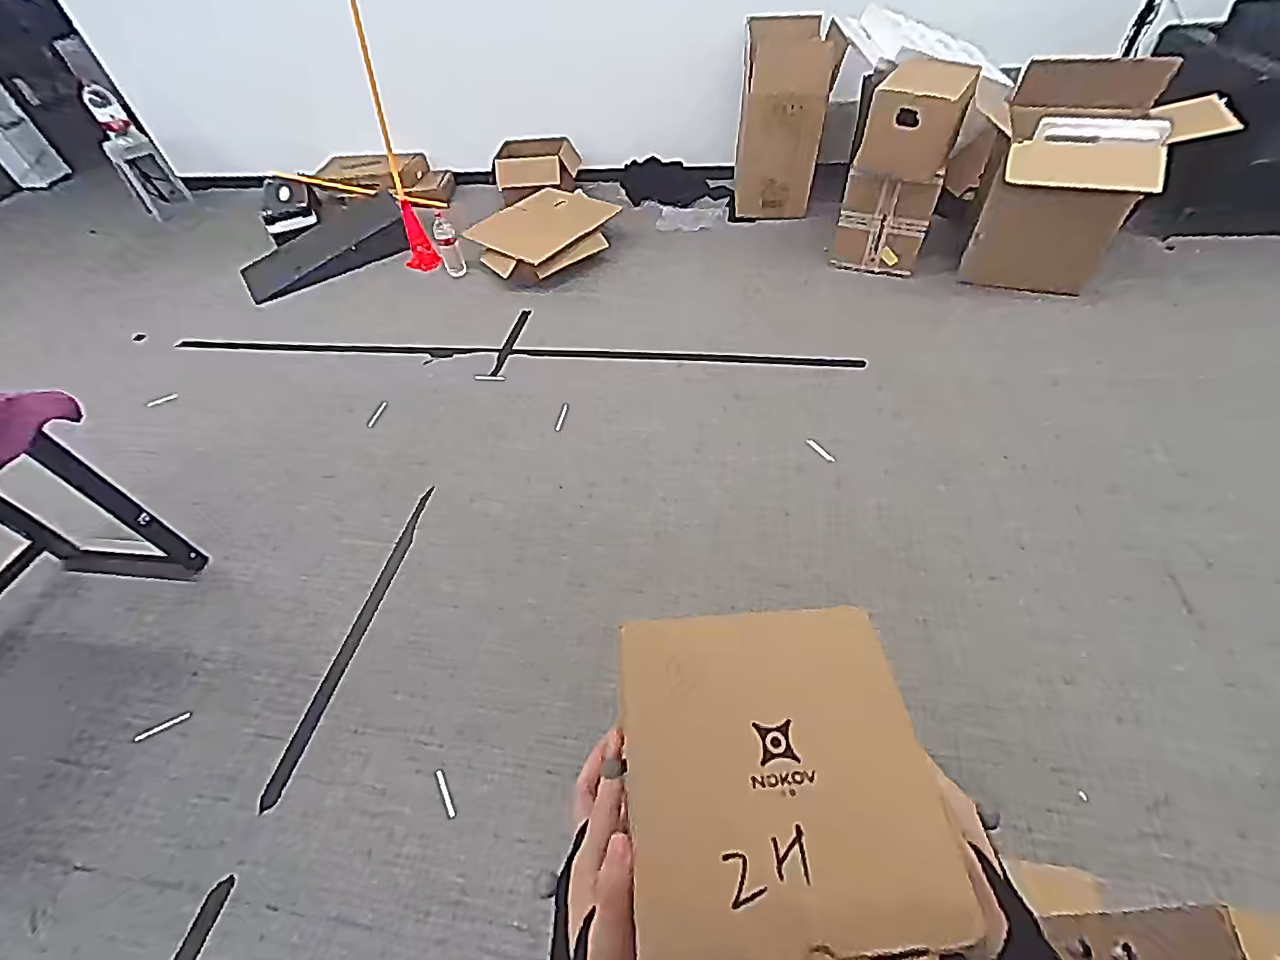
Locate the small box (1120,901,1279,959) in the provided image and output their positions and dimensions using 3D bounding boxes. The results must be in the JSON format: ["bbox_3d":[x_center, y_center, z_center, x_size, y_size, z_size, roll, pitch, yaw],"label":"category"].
[{"bbox_3d":[0.504,0.432,0.392,0.179,0.176,0.168,5,51,11],"label":"small box"}]

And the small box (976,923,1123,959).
[{"bbox_3d":[0.537,0.645,0.640,0.179,0.176,0.168,3,50,10],"label":"small box"}]

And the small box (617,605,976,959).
[{"bbox_3d":[0.070,0.204,0.364,0.168,0.176,0.179,-3,52,-4],"label":"small box"}]
